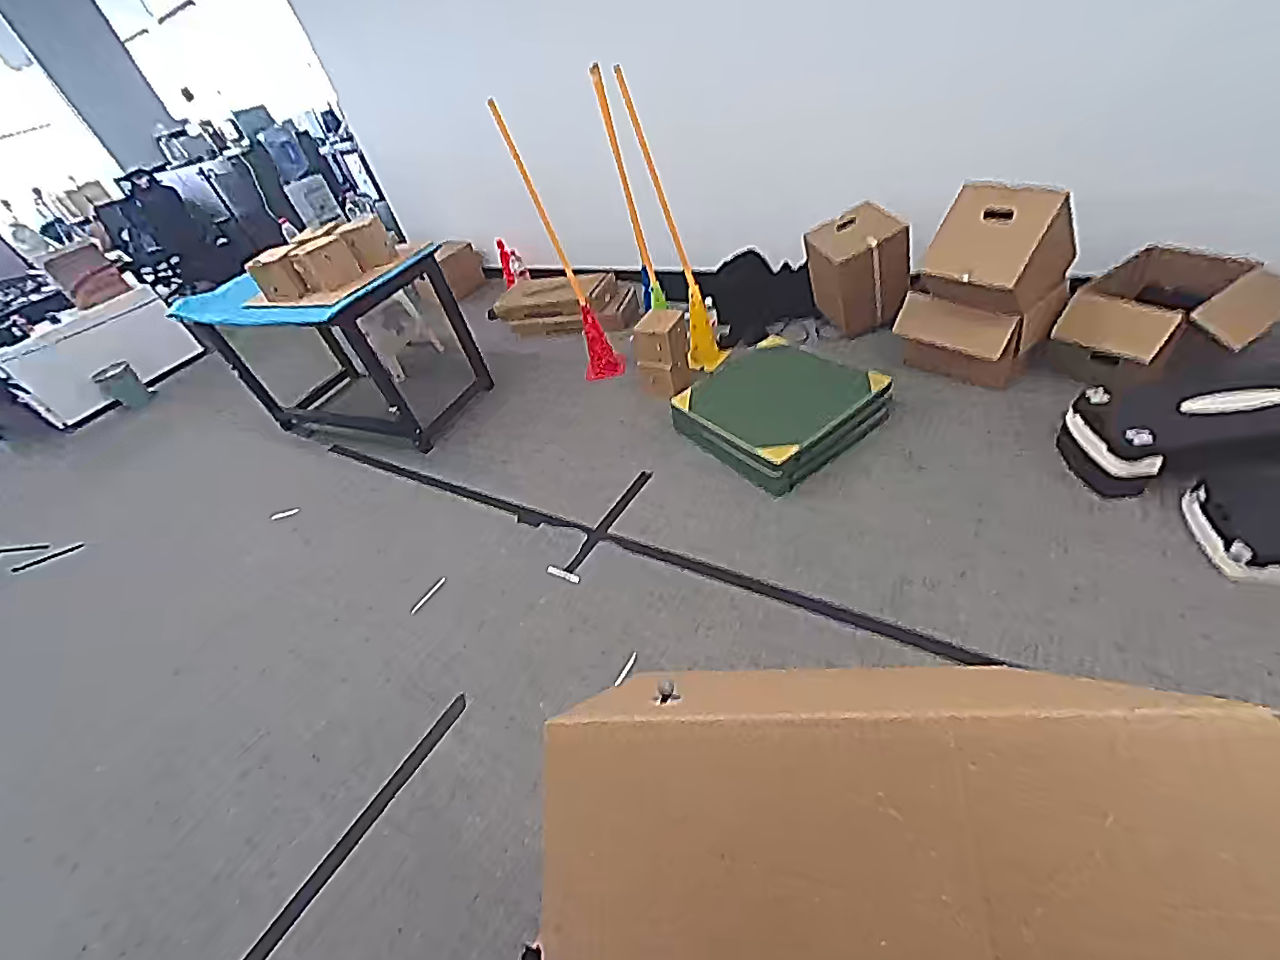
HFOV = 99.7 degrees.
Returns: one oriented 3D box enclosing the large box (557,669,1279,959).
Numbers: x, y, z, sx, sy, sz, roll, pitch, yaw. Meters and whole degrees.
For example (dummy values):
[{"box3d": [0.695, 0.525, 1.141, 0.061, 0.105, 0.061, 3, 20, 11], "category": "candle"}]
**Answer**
[{"box3d": [0.173, 0.325, 0.425, 0.408, 0.320, 0.320, -5, 75, 10], "category": "large box"}]
